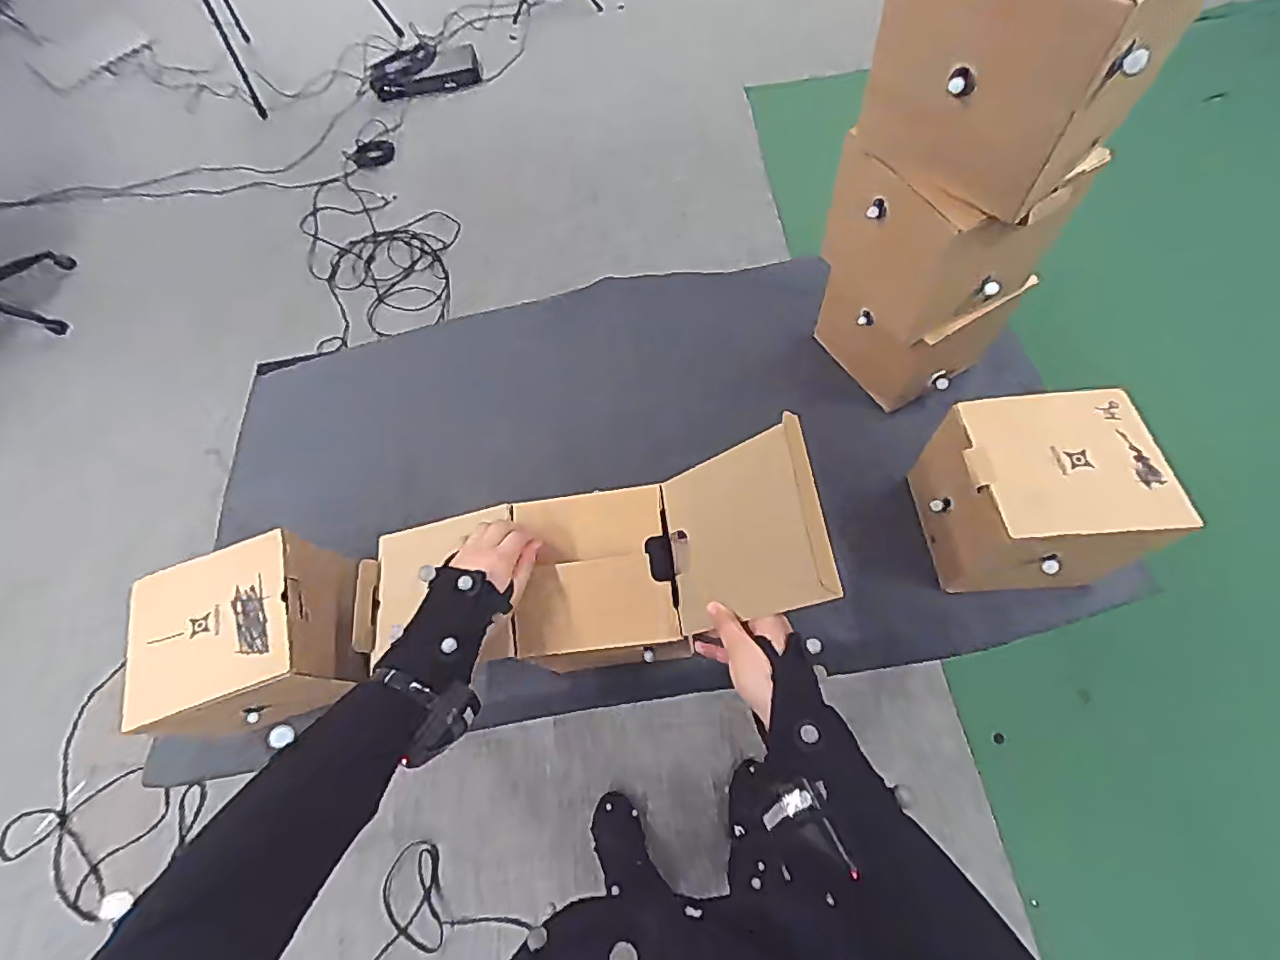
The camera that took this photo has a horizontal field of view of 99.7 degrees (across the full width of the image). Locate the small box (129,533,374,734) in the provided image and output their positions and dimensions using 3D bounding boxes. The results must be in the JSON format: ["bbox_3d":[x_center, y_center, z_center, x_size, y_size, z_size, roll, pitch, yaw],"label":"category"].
[{"bbox_3d":[-0.440,0.186,0.643,0.179,0.176,0.168,-20,65,-2],"label":"small box"}]

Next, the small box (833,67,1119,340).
[{"bbox_3d":[0.335,-0.290,0.589,0.168,0.176,0.179,-27,65,-2],"label":"small box"}]

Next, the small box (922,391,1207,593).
[{"bbox_3d":[0.441,0.023,0.608,0.179,0.176,0.168,-4,61,6],"label":"small box"}]

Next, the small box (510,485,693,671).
[{"bbox_3d":[-0.038,0.122,0.627,0.179,0.176,0.168,-8,66,4],"label":"small box"}]

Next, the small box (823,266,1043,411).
[{"bbox_3d":[0.376,-0.227,0.737,0.168,0.176,0.179,-30,67,-5],"label":"small box"}]
